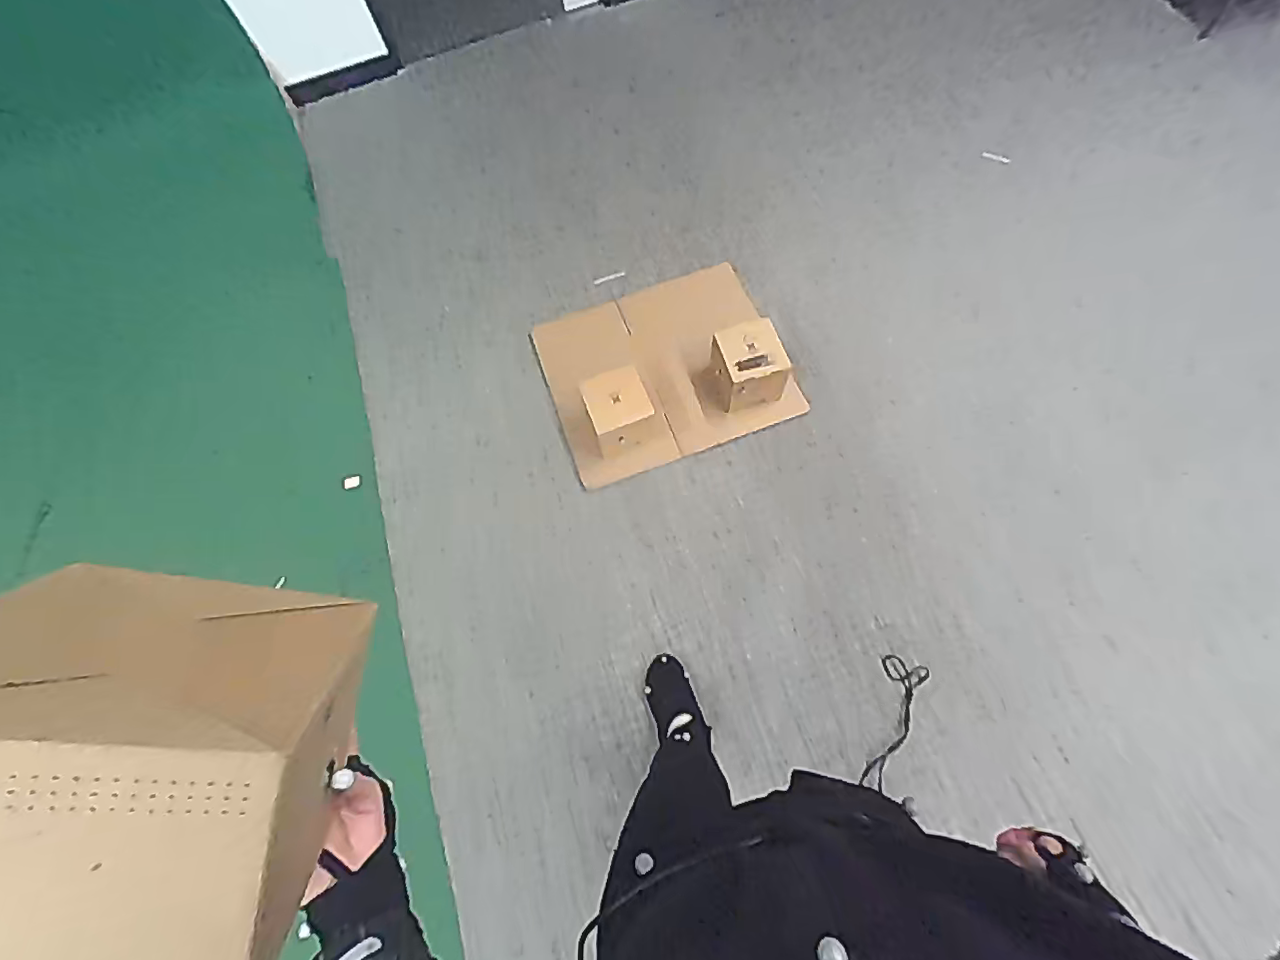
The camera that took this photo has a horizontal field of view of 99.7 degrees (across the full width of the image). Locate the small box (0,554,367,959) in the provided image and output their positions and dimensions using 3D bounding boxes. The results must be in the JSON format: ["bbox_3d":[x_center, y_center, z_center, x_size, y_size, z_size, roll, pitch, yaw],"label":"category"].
[{"bbox_3d":[-0.258,0.152,0.283,0.179,0.168,0.176,12,97,-17],"label":"small box"}]

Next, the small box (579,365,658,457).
[{"bbox_3d":[-0.055,-0.183,1.514,0.168,0.176,0.179,-21,67,-4],"label":"small box"}]
